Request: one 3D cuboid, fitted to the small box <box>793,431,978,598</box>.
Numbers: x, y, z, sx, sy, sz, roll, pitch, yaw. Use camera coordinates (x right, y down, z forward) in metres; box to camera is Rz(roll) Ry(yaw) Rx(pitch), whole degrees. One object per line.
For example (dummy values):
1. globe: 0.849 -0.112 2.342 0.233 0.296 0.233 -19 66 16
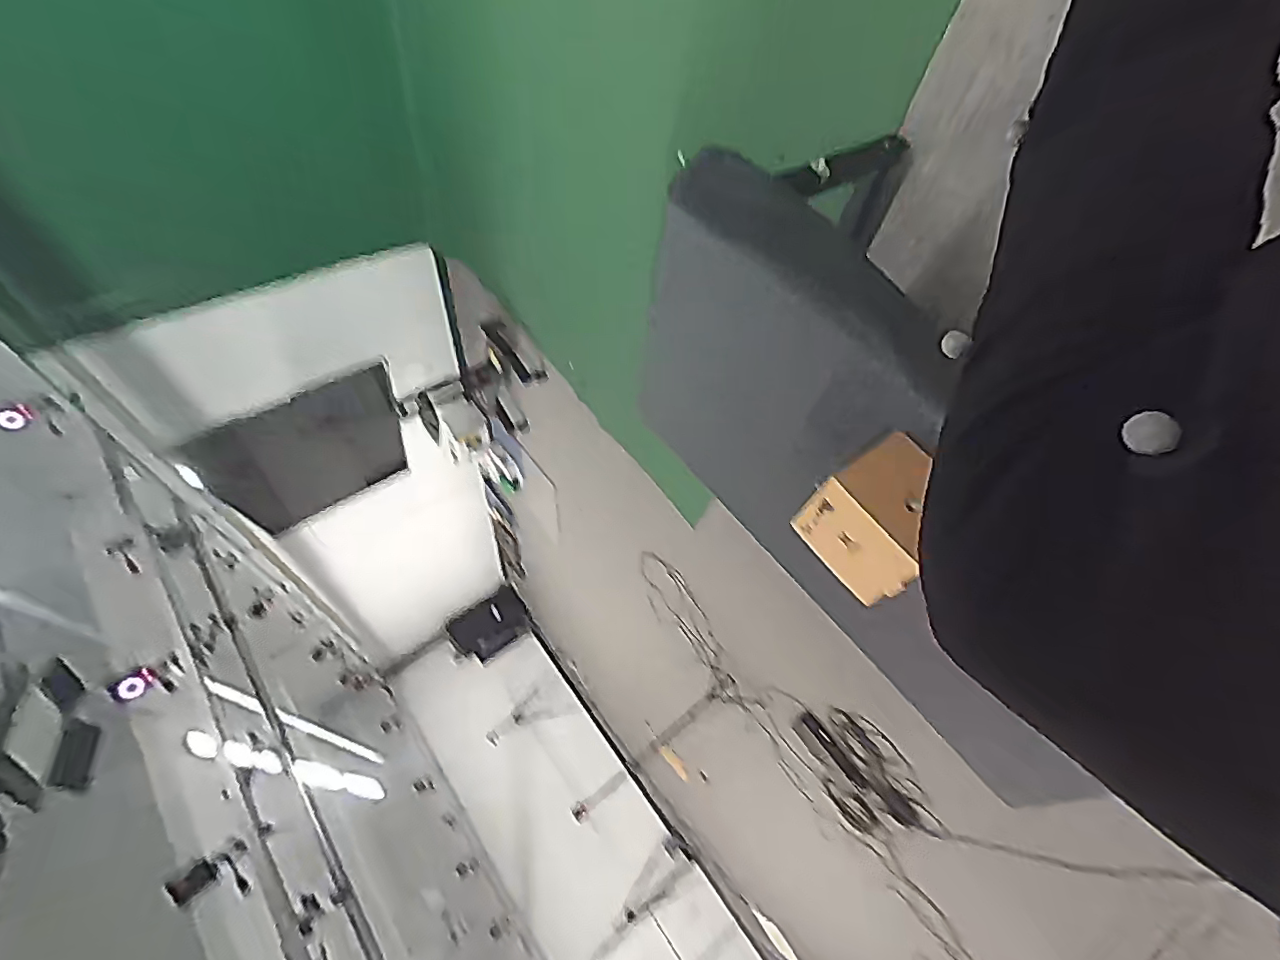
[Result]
1. small box: 0.389 0.053 0.867 0.179 0.176 0.168 50 155 19
